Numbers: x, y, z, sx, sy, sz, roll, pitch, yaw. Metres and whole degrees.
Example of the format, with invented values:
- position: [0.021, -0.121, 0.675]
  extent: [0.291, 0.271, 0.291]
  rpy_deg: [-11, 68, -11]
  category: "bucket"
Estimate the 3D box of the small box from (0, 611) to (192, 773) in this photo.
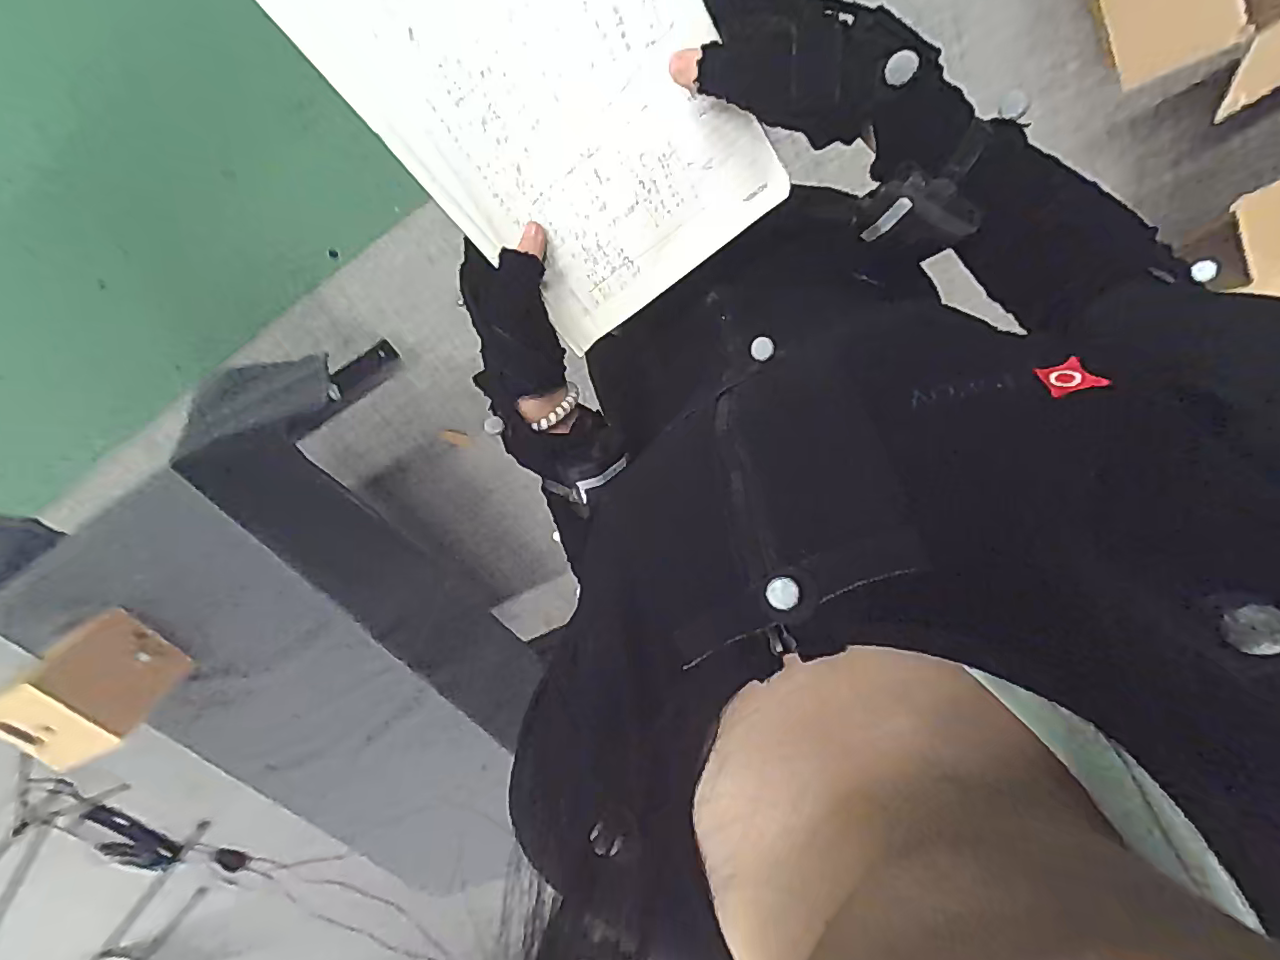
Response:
- position: [-0.937, 0.358, 0.924]
  extent: [0.179, 0.176, 0.168]
  rpy_deg: [-25, 116, 15]
  category: "small box"
